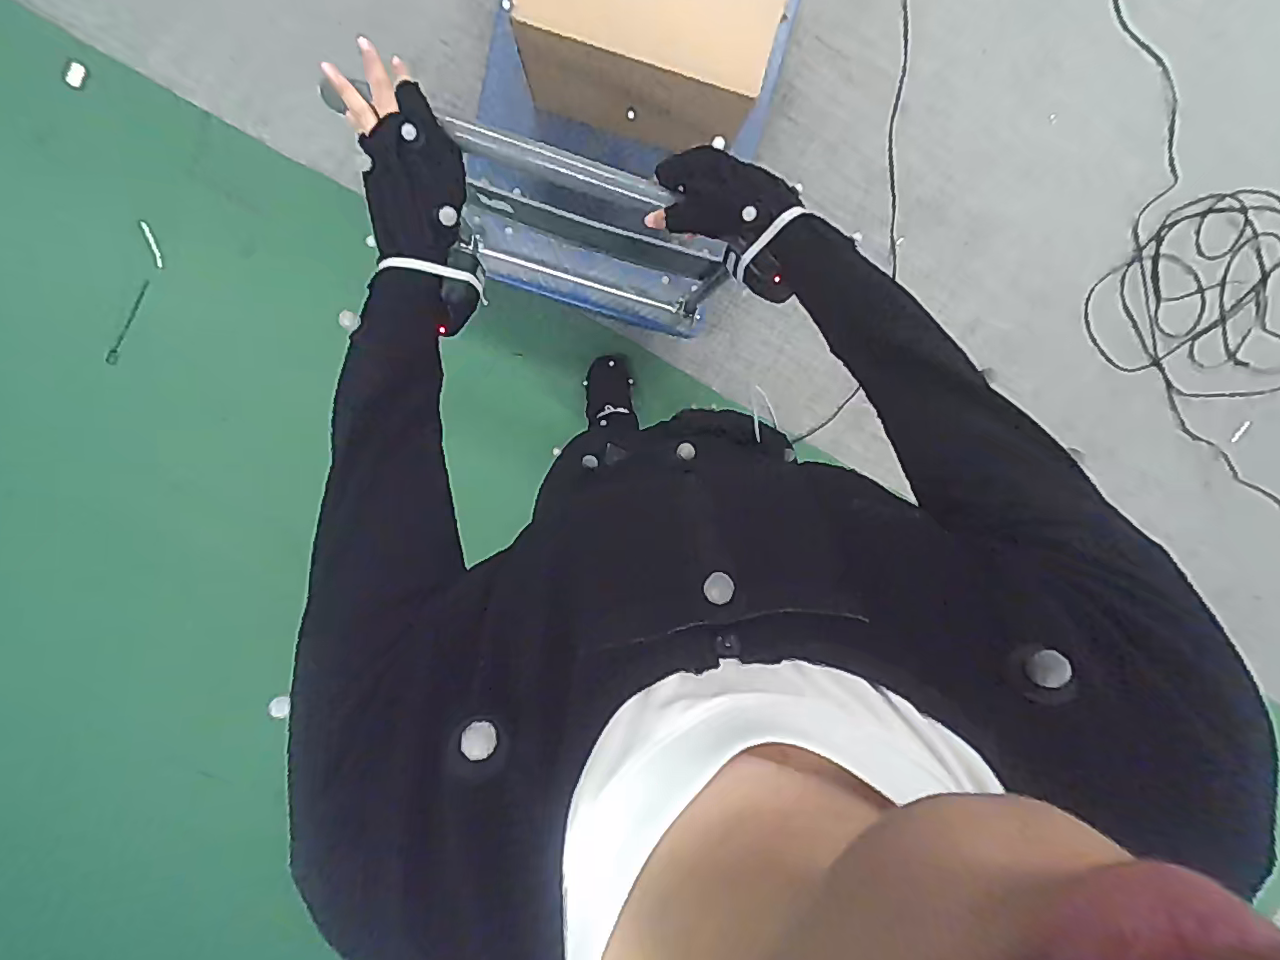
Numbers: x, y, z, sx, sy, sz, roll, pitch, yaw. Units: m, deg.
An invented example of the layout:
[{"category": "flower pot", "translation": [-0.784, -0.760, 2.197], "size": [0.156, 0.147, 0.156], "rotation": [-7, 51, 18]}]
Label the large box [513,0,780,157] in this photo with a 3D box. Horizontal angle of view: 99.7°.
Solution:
[{"category": "large box", "translation": [0.025, -0.838, 0.965], "size": [0.408, 0.320, 0.320], "rotation": [14, 101, -6]}]
